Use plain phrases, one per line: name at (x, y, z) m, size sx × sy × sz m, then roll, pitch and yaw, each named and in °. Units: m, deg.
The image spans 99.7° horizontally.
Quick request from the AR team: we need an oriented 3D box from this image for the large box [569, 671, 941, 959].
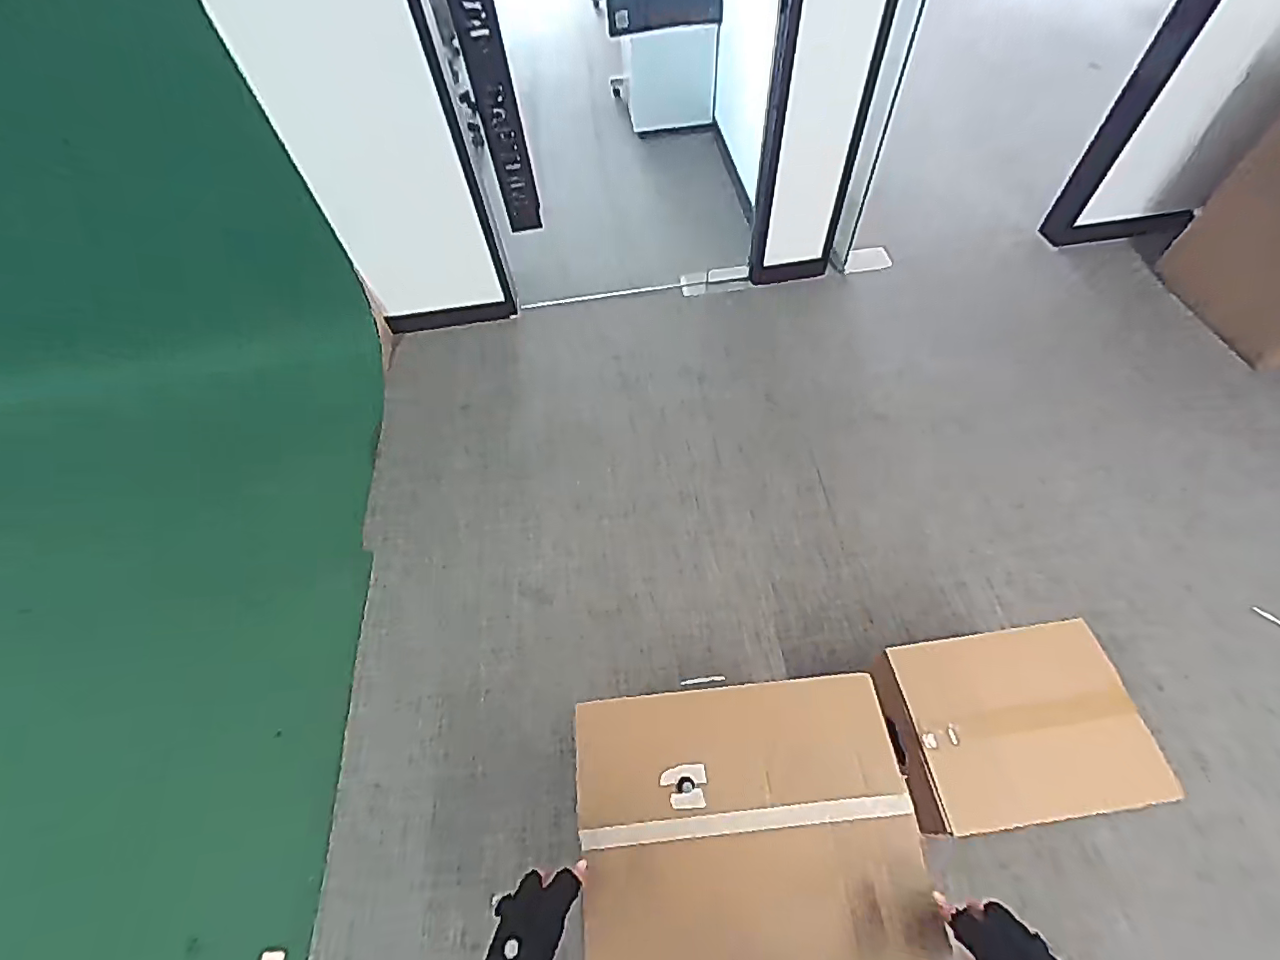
large box at (0.127, 0.483, 0.784) m, size 0.408 × 0.320 × 0.320 m, roll -6°, pitch 60°, yaw 1°
